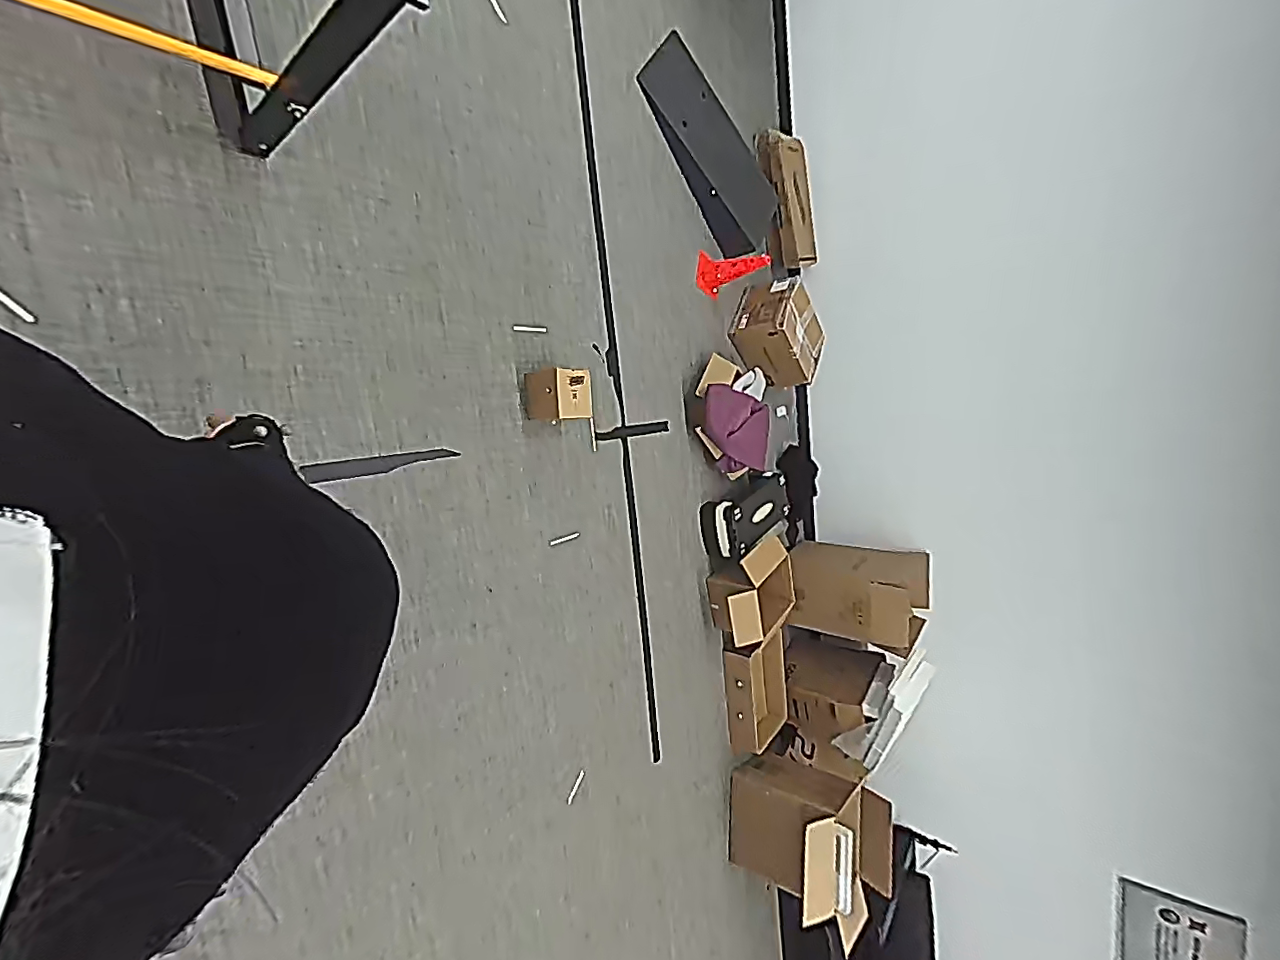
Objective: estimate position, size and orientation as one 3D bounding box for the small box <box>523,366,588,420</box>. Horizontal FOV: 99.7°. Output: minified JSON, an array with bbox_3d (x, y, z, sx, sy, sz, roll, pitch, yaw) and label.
[{"bbox_3d":[-0.310,-0.312,1.963,0.168,0.176,0.179,-10,99,-51],"label":"small box"}]
